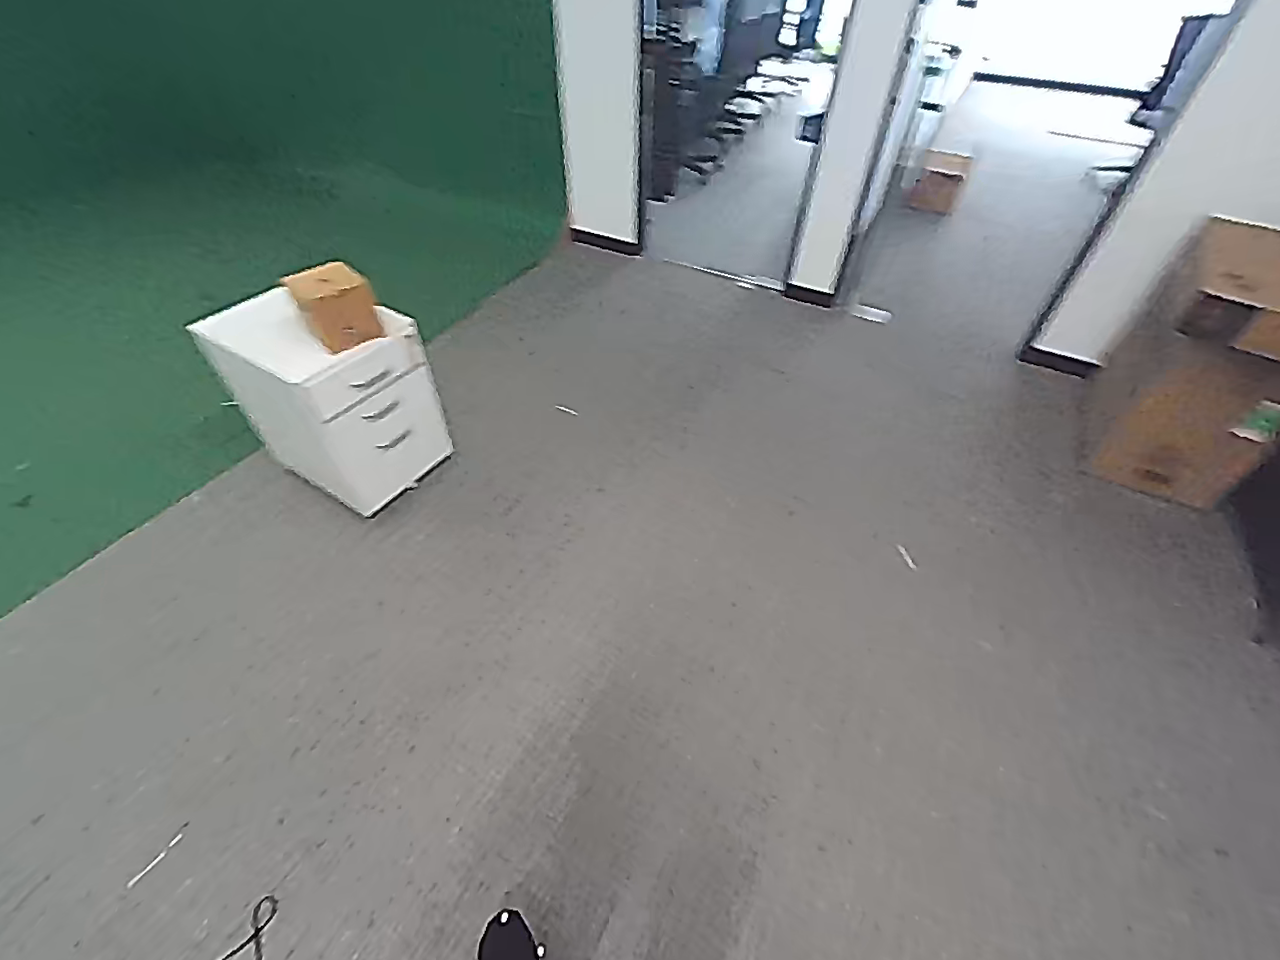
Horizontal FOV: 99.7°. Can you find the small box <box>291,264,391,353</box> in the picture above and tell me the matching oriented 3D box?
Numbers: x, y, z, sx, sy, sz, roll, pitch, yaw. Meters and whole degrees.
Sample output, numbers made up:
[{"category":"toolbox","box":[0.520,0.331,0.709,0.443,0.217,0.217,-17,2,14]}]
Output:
[{"category":"small box","box":[-0.847,-0.488,1.542,0.168,0.176,0.179,-35,56,-29]}]
